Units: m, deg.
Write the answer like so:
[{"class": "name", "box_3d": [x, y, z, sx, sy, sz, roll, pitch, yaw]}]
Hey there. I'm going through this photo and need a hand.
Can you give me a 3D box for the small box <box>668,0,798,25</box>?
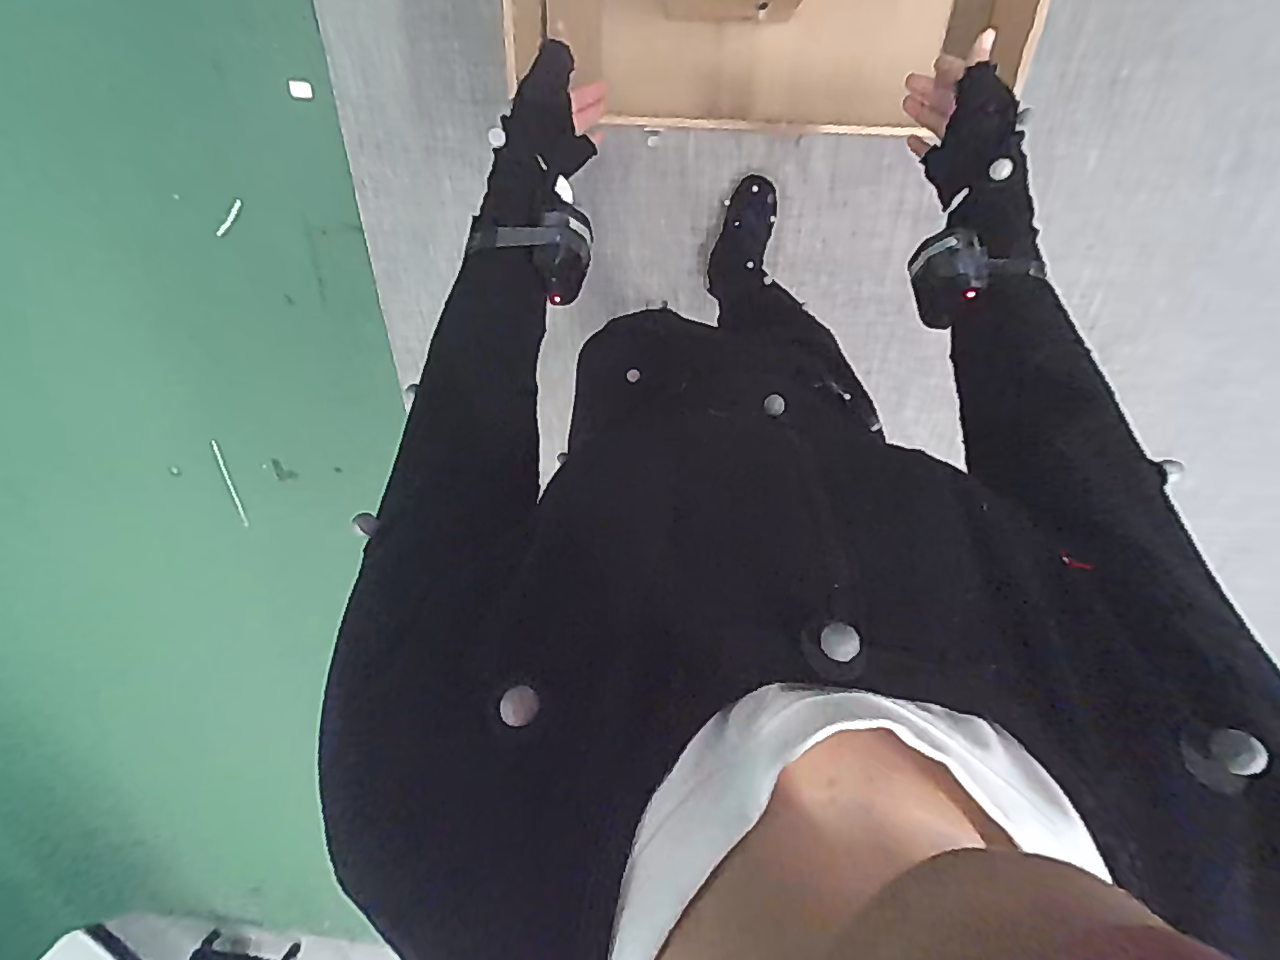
[{"class": "small box", "box_3d": [0.117, -0.653, 0.621, 0.168, 0.176, 0.179, 3, 118, 2]}]
